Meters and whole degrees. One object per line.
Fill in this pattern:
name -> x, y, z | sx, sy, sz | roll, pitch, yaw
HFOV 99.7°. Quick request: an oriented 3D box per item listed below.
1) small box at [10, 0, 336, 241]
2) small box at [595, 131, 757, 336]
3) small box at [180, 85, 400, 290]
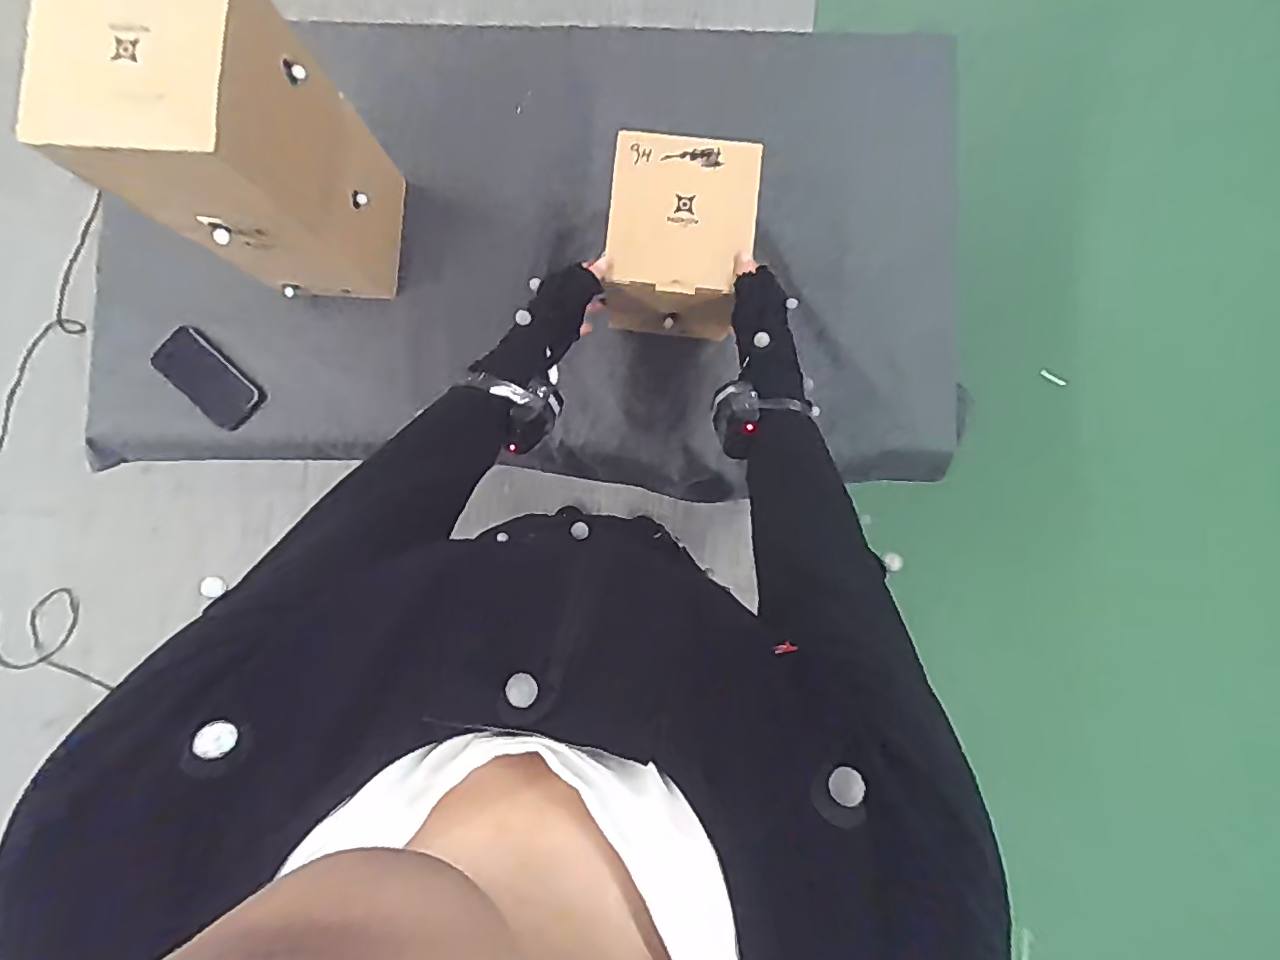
small box -> -0.420, -0.358, 0.519 | 0.168, 0.176, 0.179 | 3, 88, 0
small box -> 0.041, -0.294, 0.682 | 0.168, 0.176, 0.179 | 6, 88, 0
small box -> -0.422, -0.356, 0.681 | 0.168, 0.176, 0.179 | 4, 87, 0
